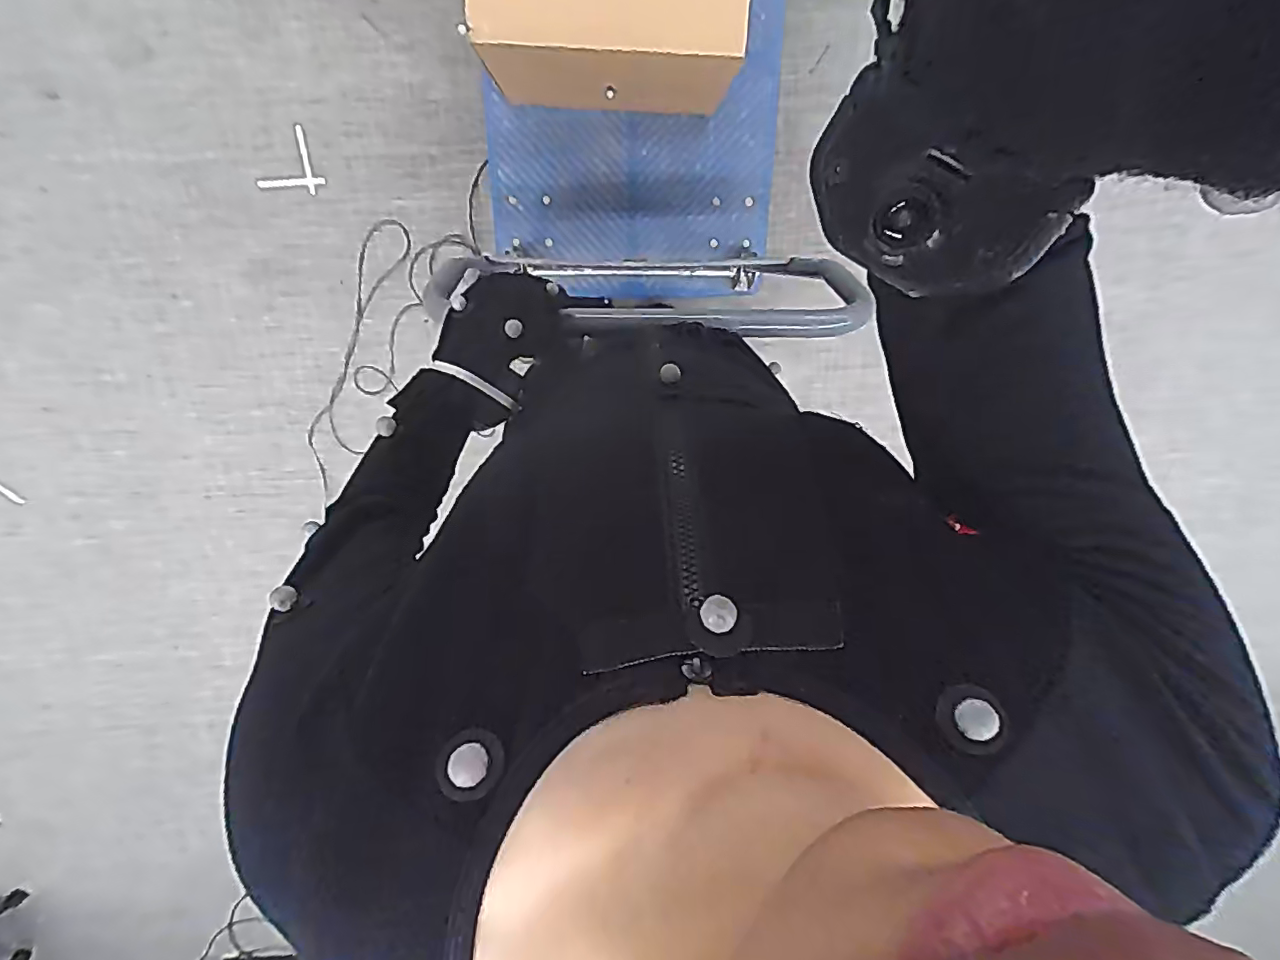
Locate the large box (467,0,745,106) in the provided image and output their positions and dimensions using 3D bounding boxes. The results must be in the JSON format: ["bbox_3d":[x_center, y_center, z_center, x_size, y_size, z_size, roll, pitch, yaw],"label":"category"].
[{"bbox_3d":[-0.048,-0.825,0.872,0.408,0.320,0.320,1,111,-2],"label":"large box"}]
